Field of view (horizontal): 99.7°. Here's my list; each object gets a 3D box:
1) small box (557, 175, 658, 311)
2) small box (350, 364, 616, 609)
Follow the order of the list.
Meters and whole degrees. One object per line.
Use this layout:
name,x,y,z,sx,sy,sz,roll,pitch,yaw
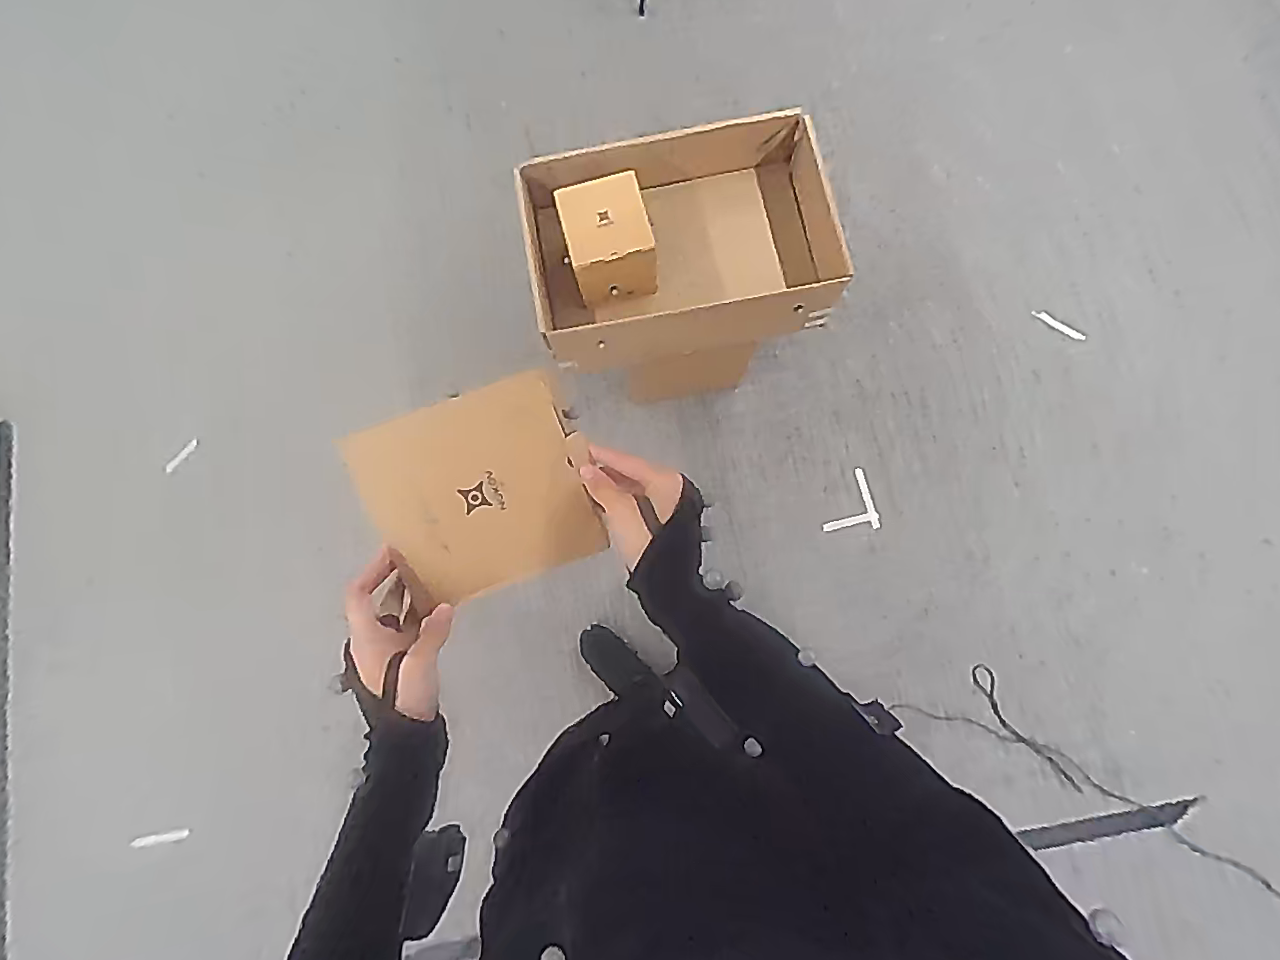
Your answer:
small box,-0.064,-0.485,1.127,0.168,0.176,0.179,-16,80,0
small box,-0.136,-0.005,0.529,0.179,0.176,0.168,-20,99,-2
